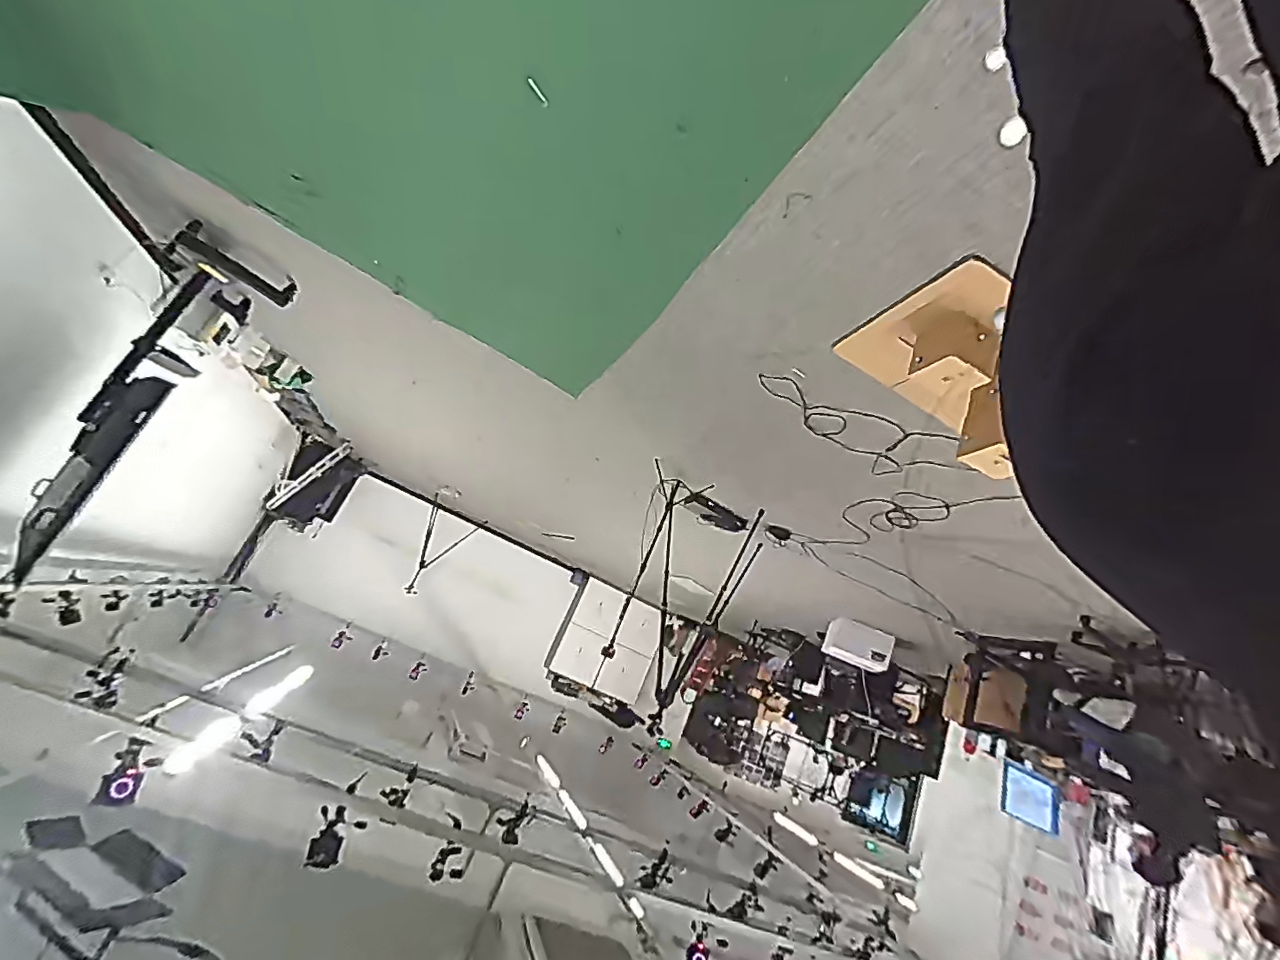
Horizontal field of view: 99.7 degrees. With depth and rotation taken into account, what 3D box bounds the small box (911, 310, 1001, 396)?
[{"bbox_3d":[1.000,-0.399,1.709,0.168,0.176,0.179,26,161,-12],"label":"small box"}]
